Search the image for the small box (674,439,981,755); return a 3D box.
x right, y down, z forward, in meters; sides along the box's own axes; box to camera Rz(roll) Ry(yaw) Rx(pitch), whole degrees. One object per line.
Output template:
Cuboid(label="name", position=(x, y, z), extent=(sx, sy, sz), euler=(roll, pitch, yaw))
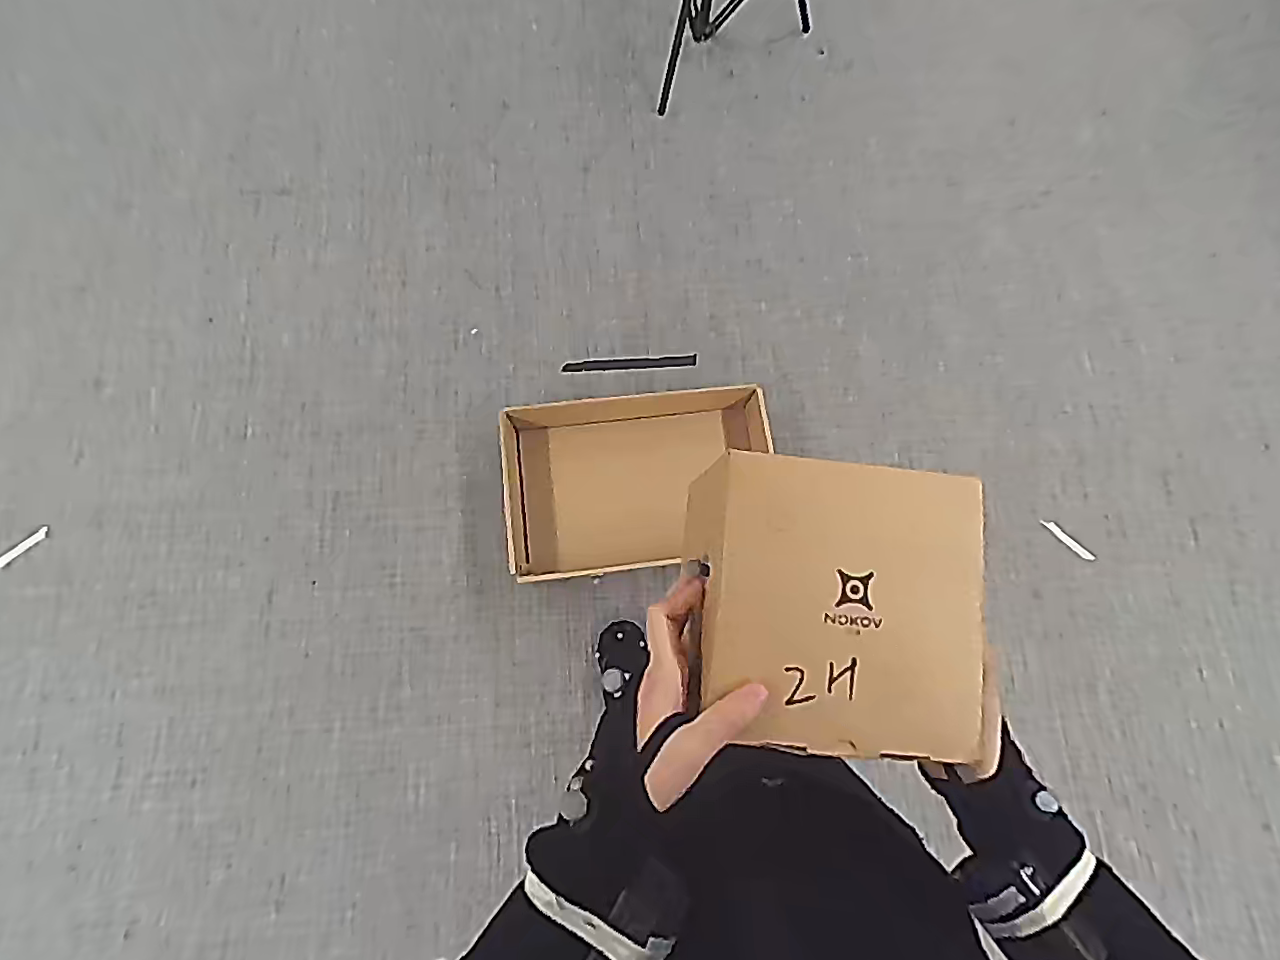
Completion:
Cuboid(label="small box", position=(0.123, 0.081, 0.410), extent=(0.168, 0.176, 0.179), euler=(7, 81, -2))
